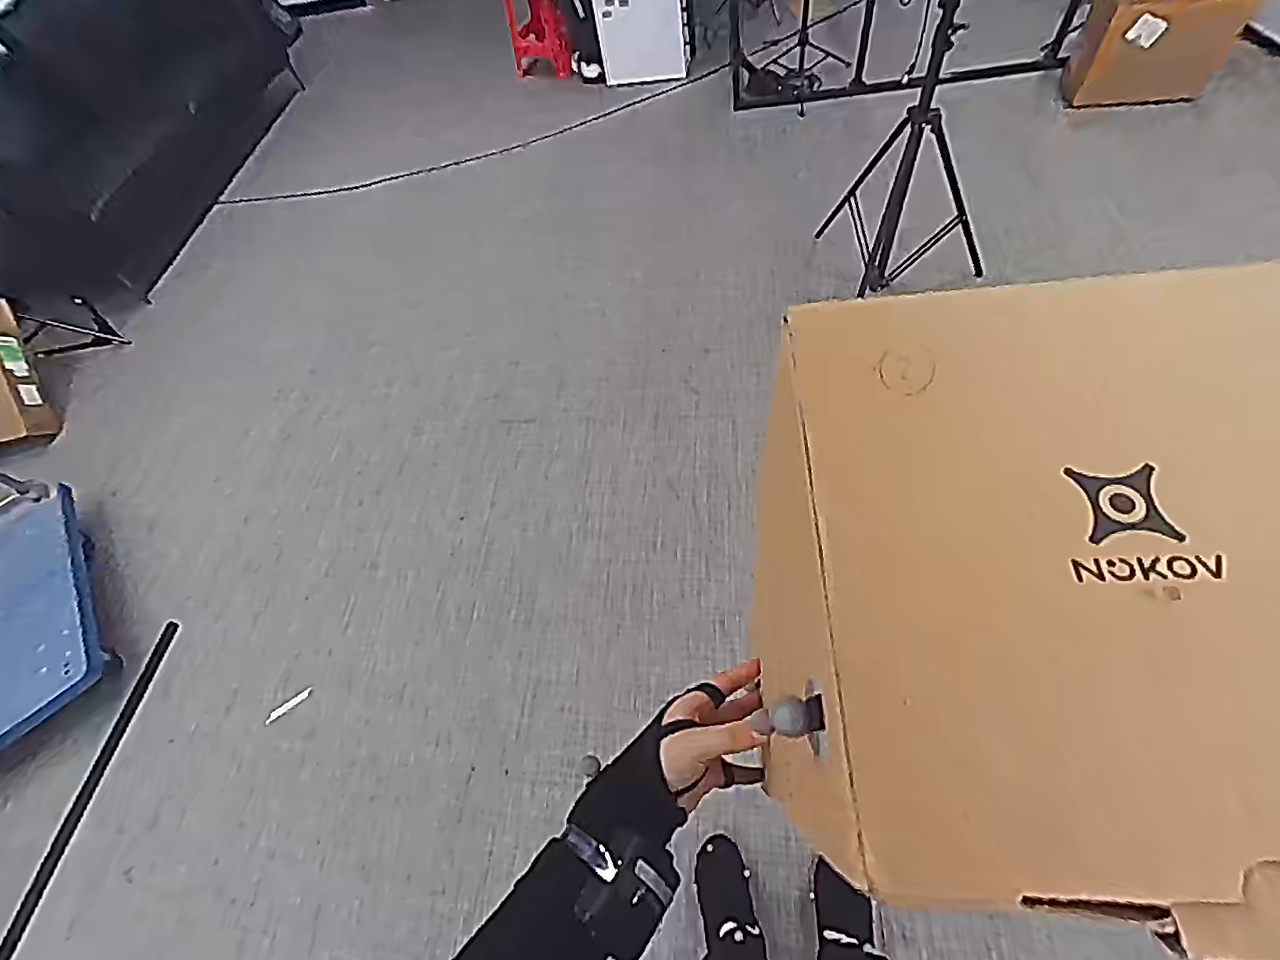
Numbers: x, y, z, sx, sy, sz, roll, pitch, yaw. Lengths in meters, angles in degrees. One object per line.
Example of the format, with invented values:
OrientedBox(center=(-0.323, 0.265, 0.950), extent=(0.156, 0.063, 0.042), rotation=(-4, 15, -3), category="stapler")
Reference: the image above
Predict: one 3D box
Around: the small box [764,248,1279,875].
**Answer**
OrientedBox(center=(0.145, 0.040, 0.219), extent=(0.168, 0.176, 0.179), rotation=(-3, 63, 7), category="small box")
